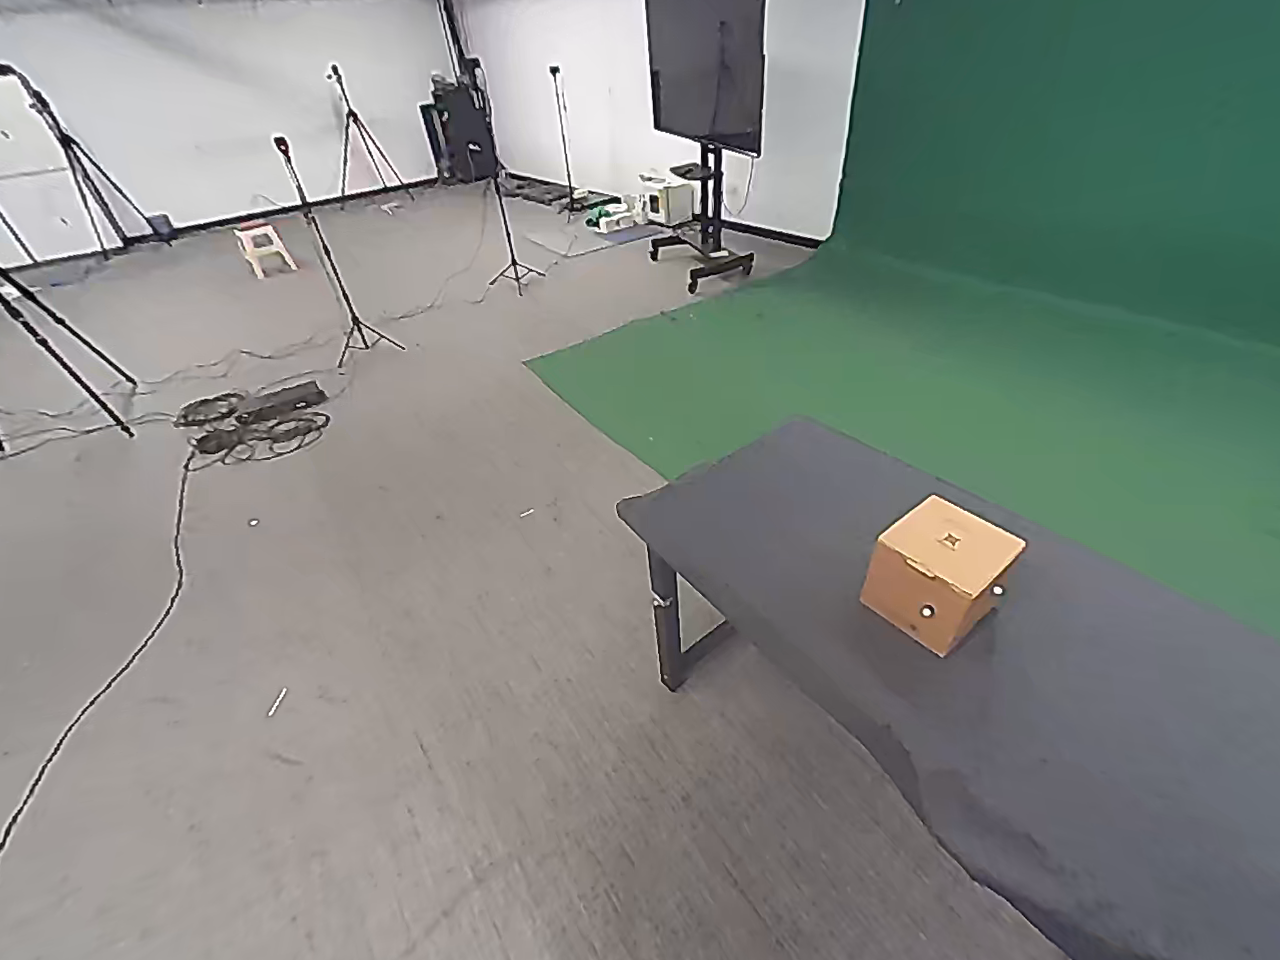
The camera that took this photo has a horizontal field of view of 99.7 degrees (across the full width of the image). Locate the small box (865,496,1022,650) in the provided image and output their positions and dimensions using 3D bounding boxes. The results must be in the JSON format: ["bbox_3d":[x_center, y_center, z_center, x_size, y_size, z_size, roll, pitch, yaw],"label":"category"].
[{"bbox_3d":[0.526,0.166,0.963,0.179,0.176,0.168,-28,46,-27],"label":"small box"}]
